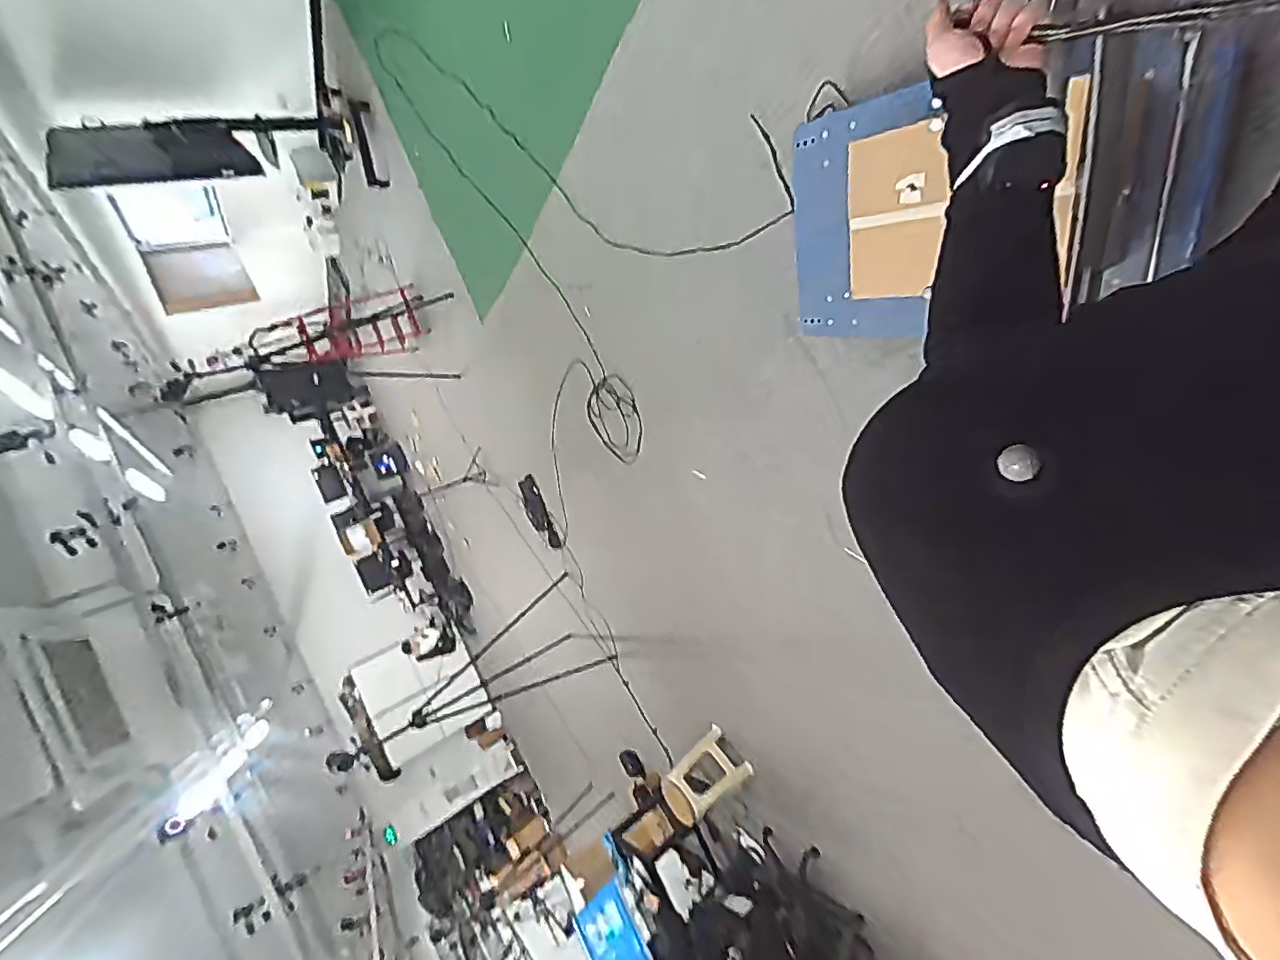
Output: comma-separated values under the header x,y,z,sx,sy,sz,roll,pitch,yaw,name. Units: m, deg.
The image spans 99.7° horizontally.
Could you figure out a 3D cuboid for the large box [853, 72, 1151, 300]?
x,y,z,sx,sy,sz,roll,pitch,yaw,name
0.697,-0.558,1.083,0.408,0.320,0.320,19,125,51,large box
